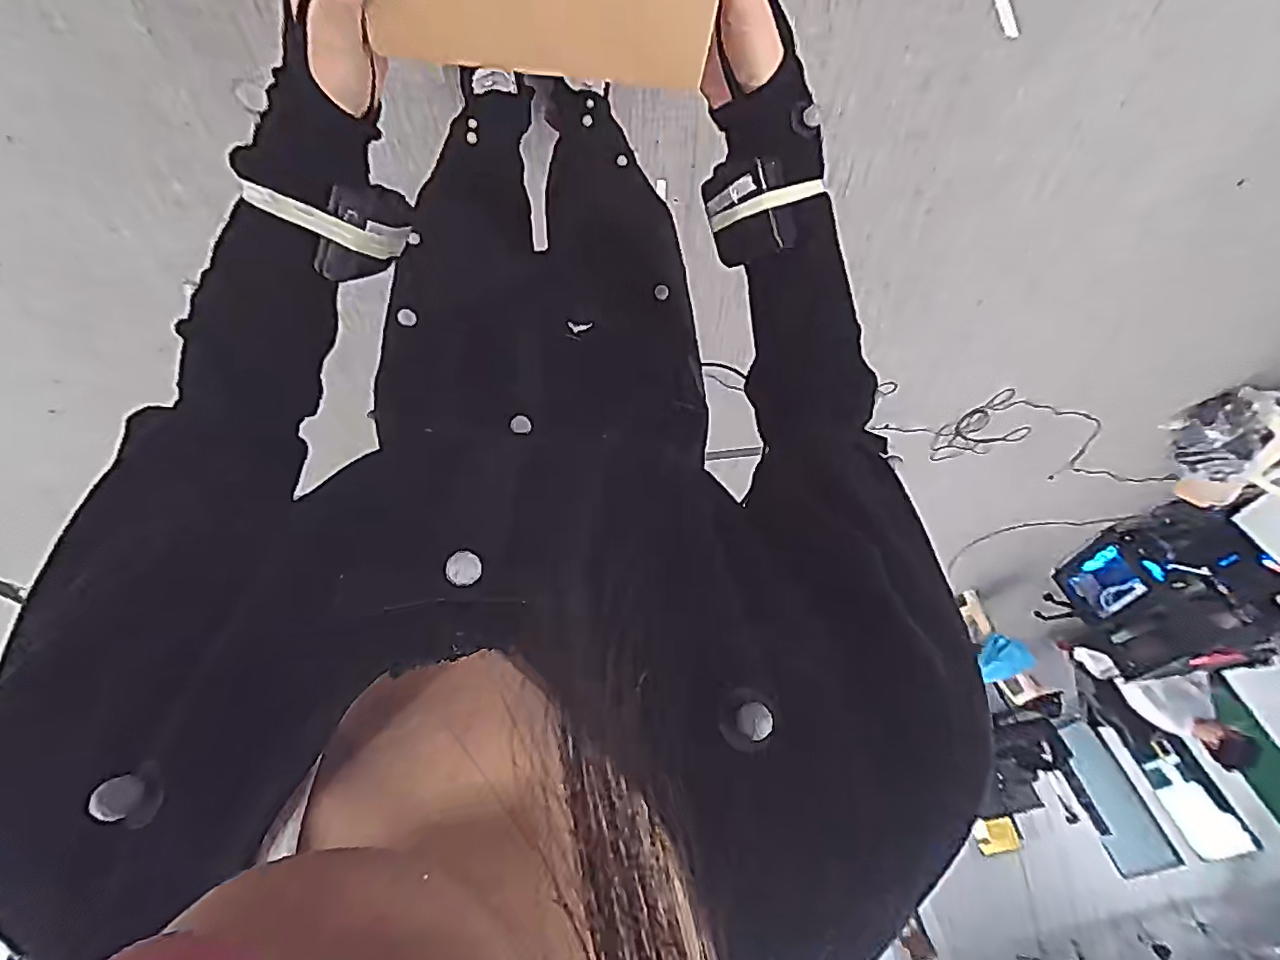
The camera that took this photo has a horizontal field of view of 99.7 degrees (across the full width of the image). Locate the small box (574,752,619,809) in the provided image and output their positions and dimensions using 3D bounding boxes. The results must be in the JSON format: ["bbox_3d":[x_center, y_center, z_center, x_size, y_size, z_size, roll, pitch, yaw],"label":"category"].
[{"bbox_3d":[-0.190,1.281,2.307,0.168,0.176,0.179,-4,139,-12],"label":"small box"}]
